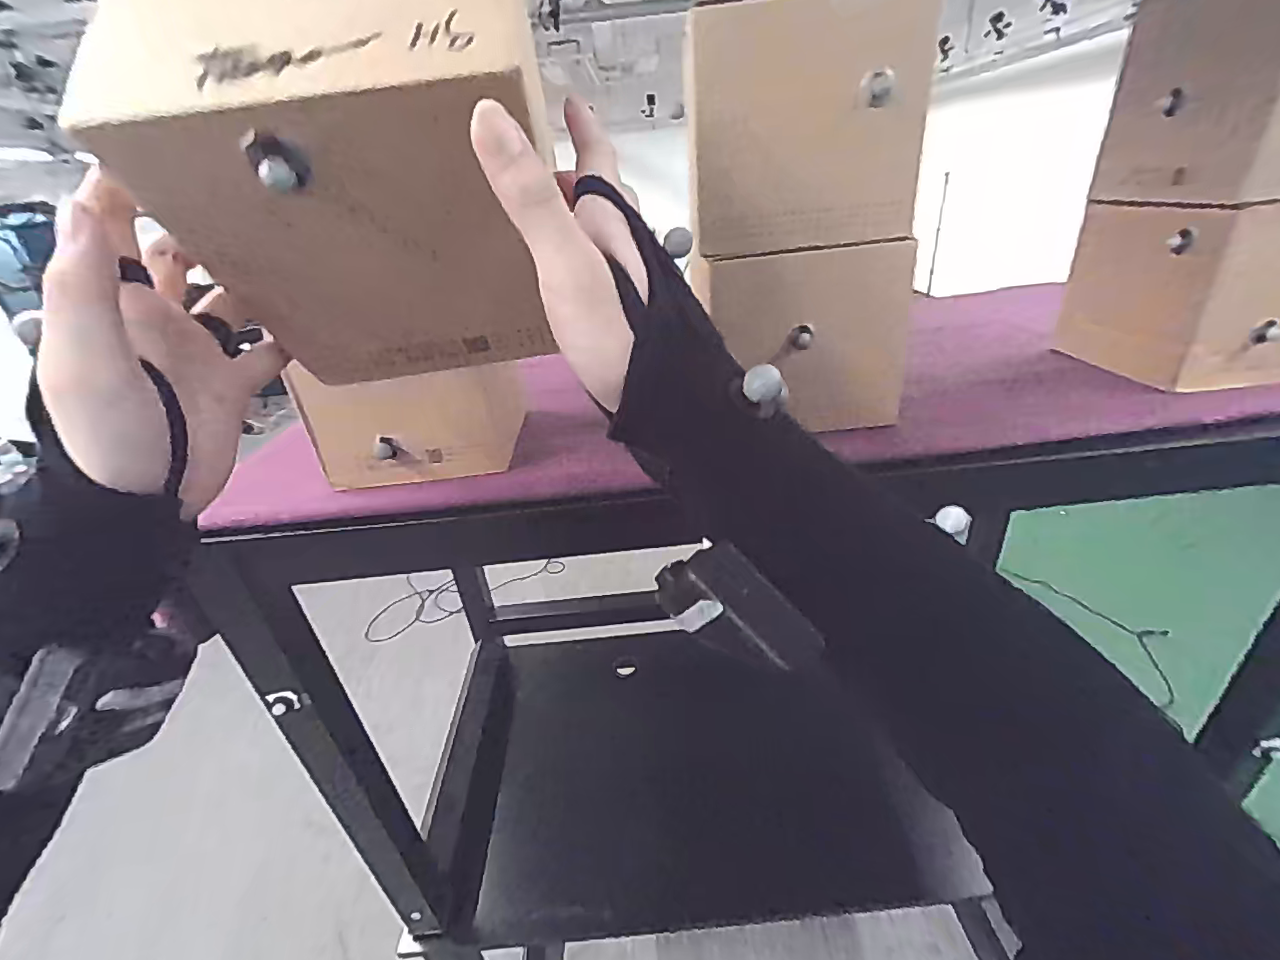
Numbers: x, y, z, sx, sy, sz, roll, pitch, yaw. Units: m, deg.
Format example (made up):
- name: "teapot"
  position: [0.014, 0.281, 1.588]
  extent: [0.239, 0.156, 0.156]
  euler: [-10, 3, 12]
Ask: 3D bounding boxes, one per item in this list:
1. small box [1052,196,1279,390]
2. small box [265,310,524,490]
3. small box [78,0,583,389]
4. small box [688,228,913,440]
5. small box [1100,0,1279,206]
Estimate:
- name: "small box"
  position: [0.575, -0.201, 0.554]
  extent: [0.168, 0.176, 0.179]
  euler: [-6, 29, 1]
- name: "small box"
  position: [-0.220, -0.107, 0.545]
  extent: [0.168, 0.176, 0.179]
  euler: [-8, 28, -1]
- name: "small box"
  position: [-0.131, -0.177, 0.303]
  extent: [0.168, 0.176, 0.179]
  euler: [-9, 67, 0]
- name: "small box"
  position: [0.146, -0.152, 0.552]
  extent: [0.179, 0.176, 0.168]
  euler: [-6, 27, 2]
- name: "small box"
  position: [0.552, -0.341, 0.469]
  extent: [0.179, 0.176, 0.168]
  euler: [-6, 29, 2]
